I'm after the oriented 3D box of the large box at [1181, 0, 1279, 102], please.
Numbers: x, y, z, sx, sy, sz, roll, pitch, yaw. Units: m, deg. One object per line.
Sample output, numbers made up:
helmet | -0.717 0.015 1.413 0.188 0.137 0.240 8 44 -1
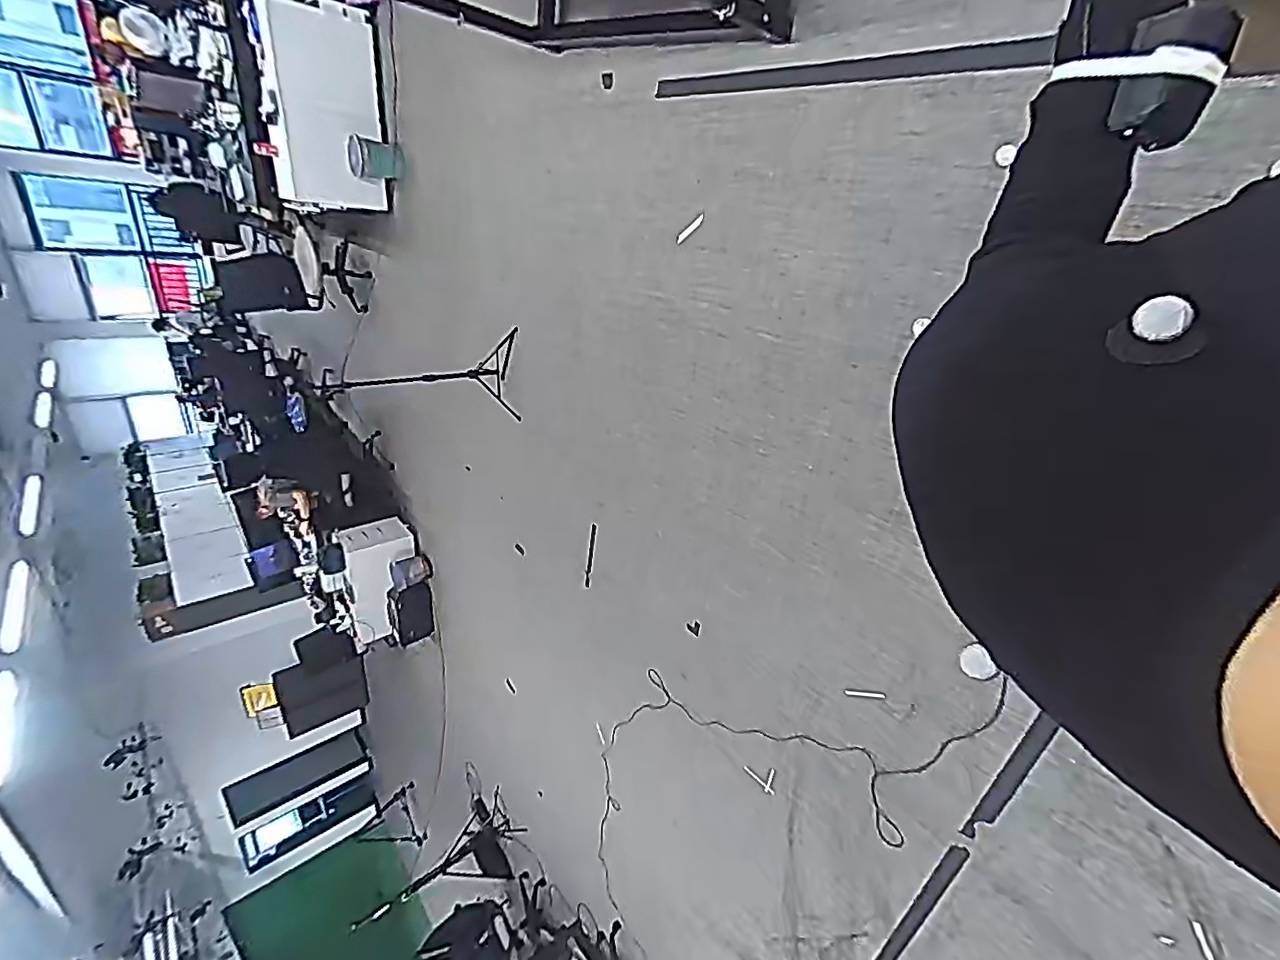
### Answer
large box | 0.583 -0.396 0.243 0.408 0.320 0.320 26 126 38
